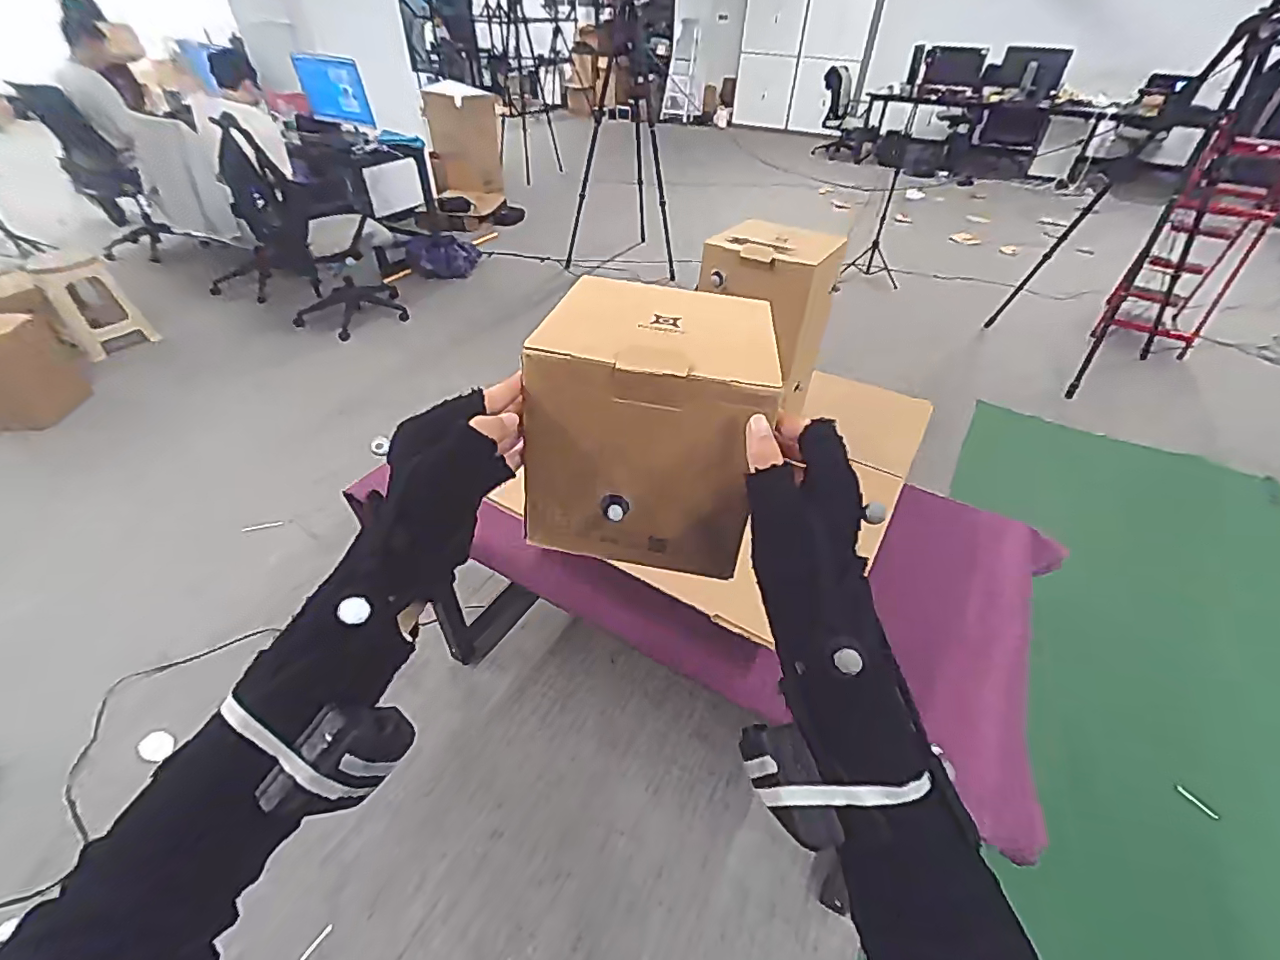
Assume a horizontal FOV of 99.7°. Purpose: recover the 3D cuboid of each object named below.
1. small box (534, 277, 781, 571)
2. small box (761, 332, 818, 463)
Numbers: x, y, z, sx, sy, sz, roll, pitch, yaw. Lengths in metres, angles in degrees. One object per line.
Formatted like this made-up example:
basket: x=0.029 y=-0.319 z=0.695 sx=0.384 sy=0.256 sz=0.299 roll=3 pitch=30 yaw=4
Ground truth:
small box: x=0.013 y=-0.053 z=0.457 sx=0.168 sy=0.176 sz=0.179 roll=10 pitch=36 yaw=3
small box: x=0.190 y=-0.155 z=0.950 sx=0.168 sy=0.176 sz=0.179 roll=23 pitch=43 yaw=23
